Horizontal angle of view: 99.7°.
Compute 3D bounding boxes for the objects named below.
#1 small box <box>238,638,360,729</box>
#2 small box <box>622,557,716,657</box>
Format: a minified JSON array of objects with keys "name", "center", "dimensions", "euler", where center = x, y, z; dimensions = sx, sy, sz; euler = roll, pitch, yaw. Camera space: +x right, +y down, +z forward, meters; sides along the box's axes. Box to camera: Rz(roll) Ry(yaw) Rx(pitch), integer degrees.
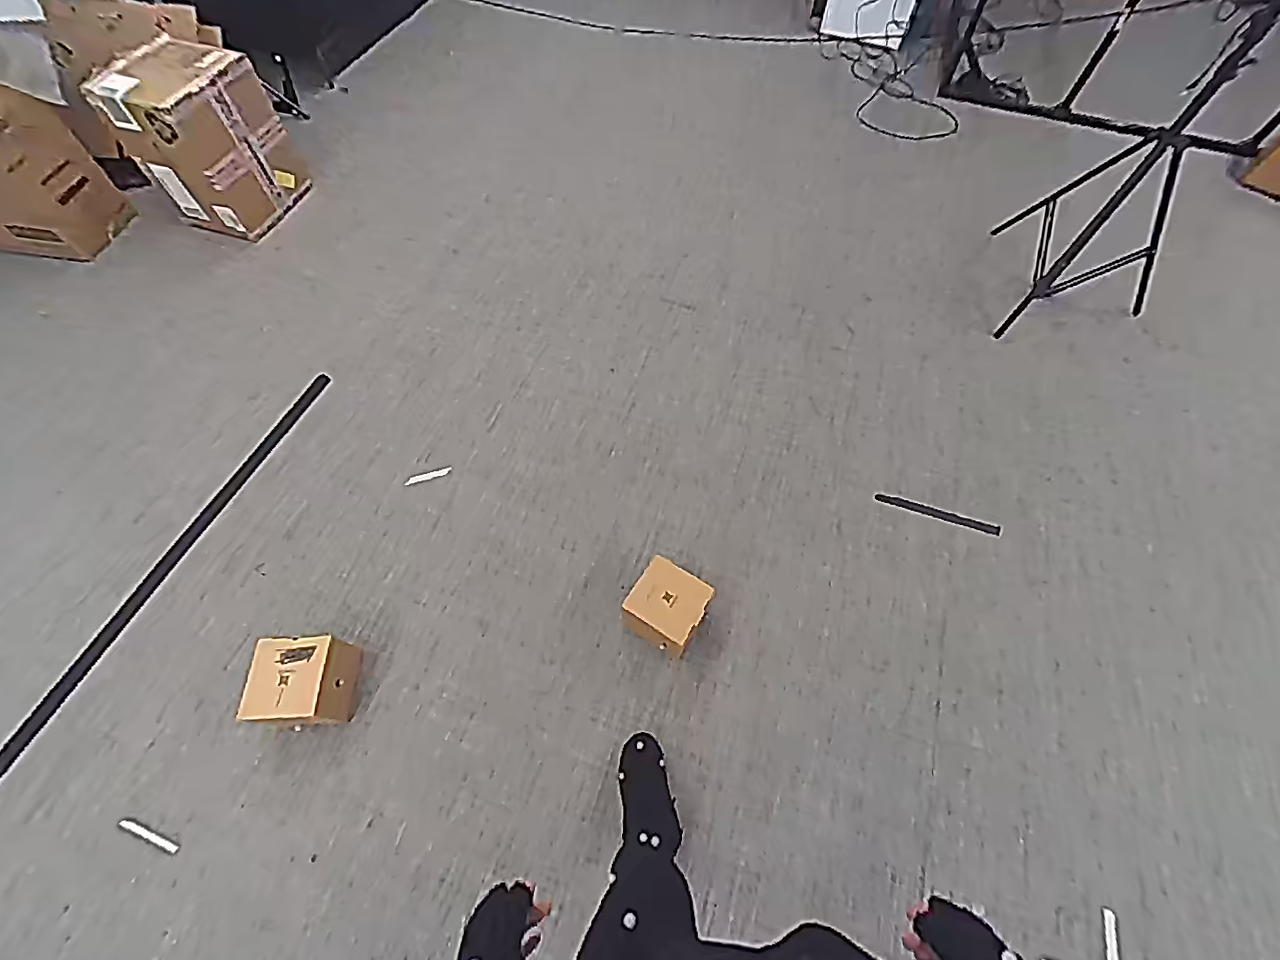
[{"name":"small box","center":[-0.783,0.479,1.267],"dimensions":[0.168,0.176,0.179],"euler":[-2,61,-2]},{"name":"small box","center":[0.070,0.331,1.375],"dimensions":[0.179,0.176,0.168],"euler":[29,63,15]}]
